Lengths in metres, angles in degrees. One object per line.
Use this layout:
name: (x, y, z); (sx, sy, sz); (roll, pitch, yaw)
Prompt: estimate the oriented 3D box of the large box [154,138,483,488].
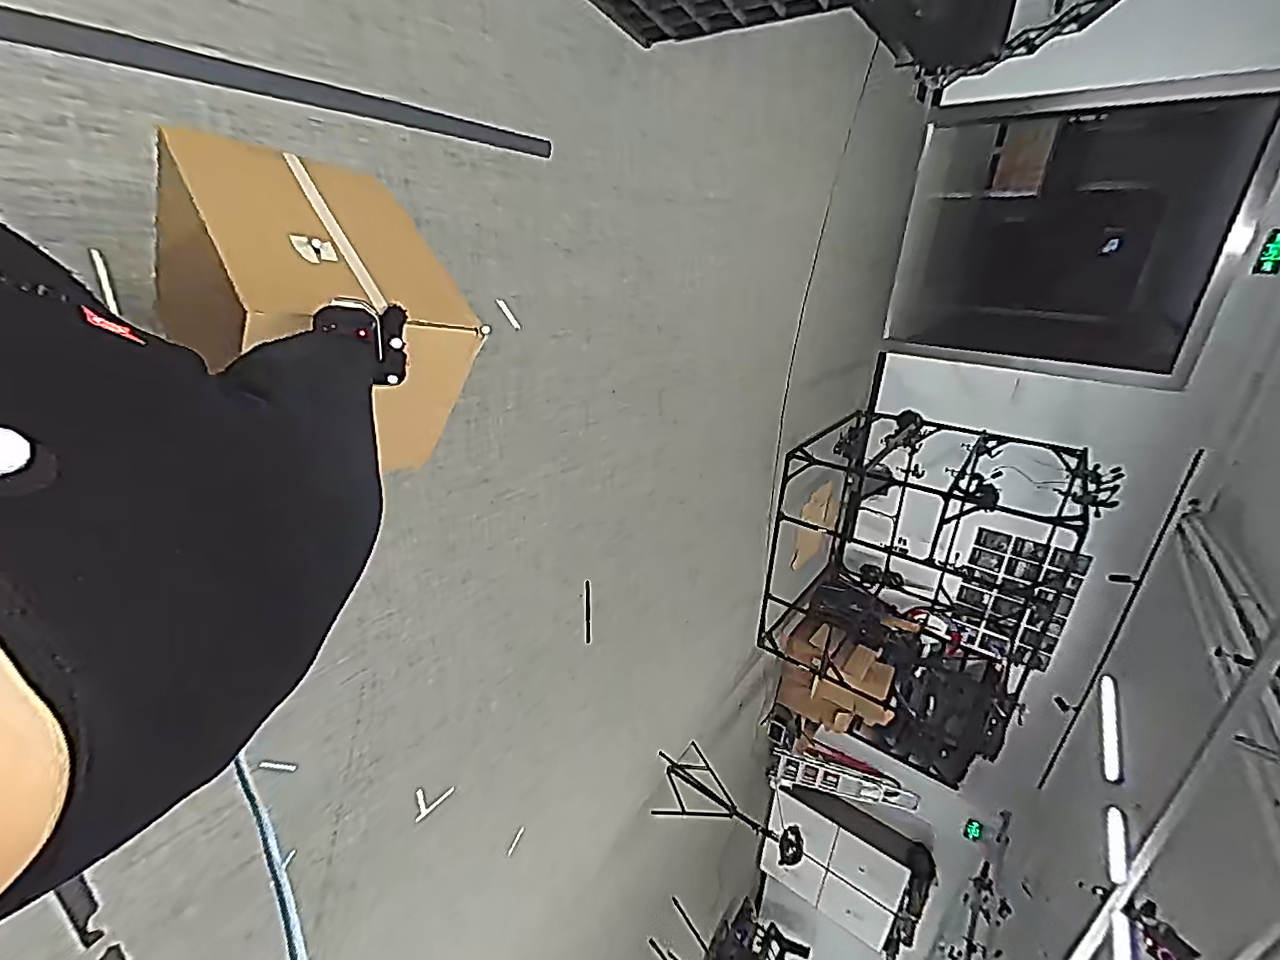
large box: (-0.534, -0.249, 0.880); (0.320, 0.408, 0.320); (-13, 150, -49)
